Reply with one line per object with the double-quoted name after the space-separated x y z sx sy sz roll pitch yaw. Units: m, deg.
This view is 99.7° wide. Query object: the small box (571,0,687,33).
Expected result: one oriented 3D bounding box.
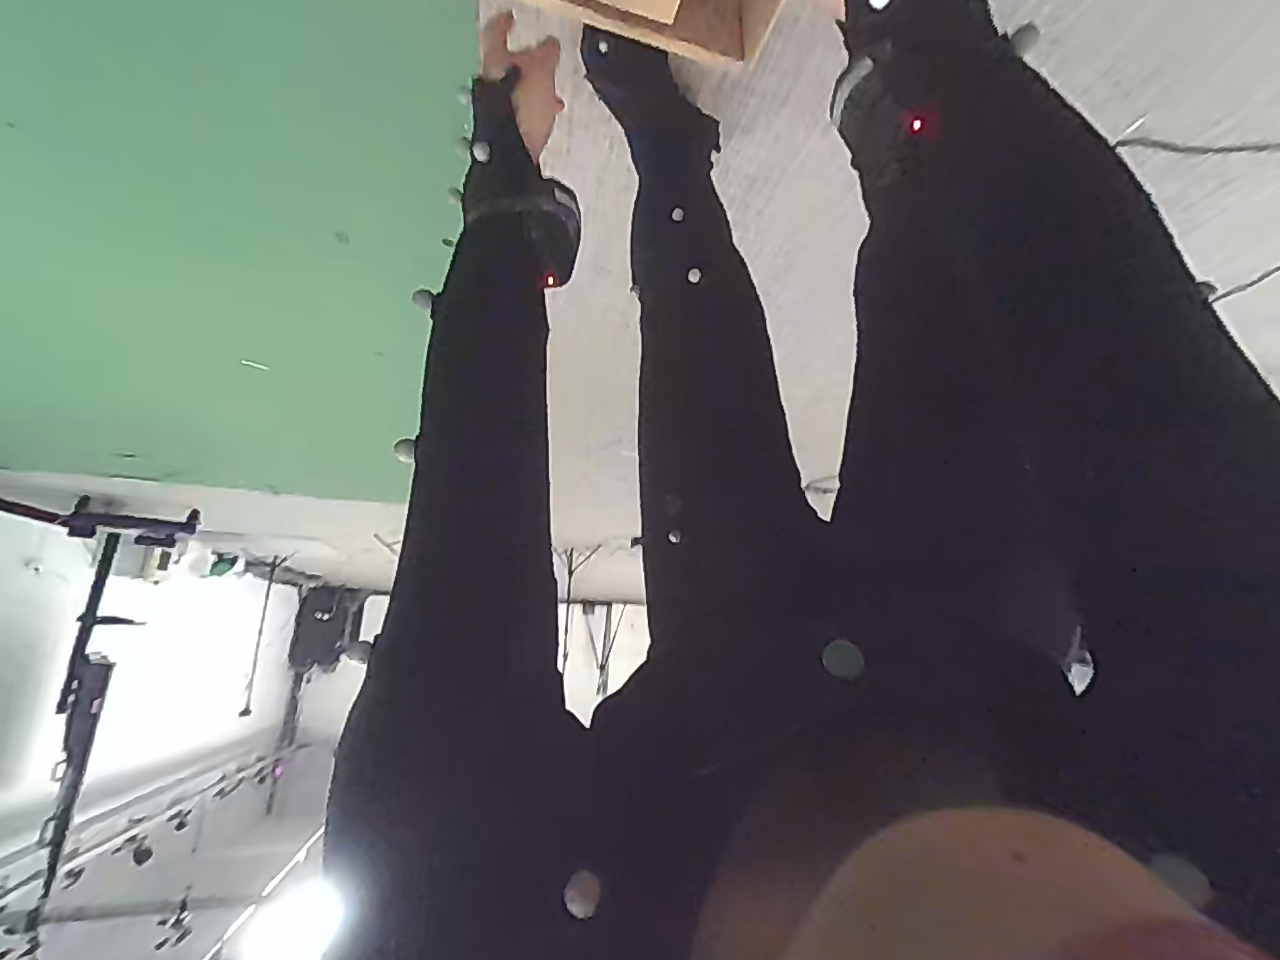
-0.018 -0.549 0.457 0.168 0.176 0.179 5 162 -15 "small box"
